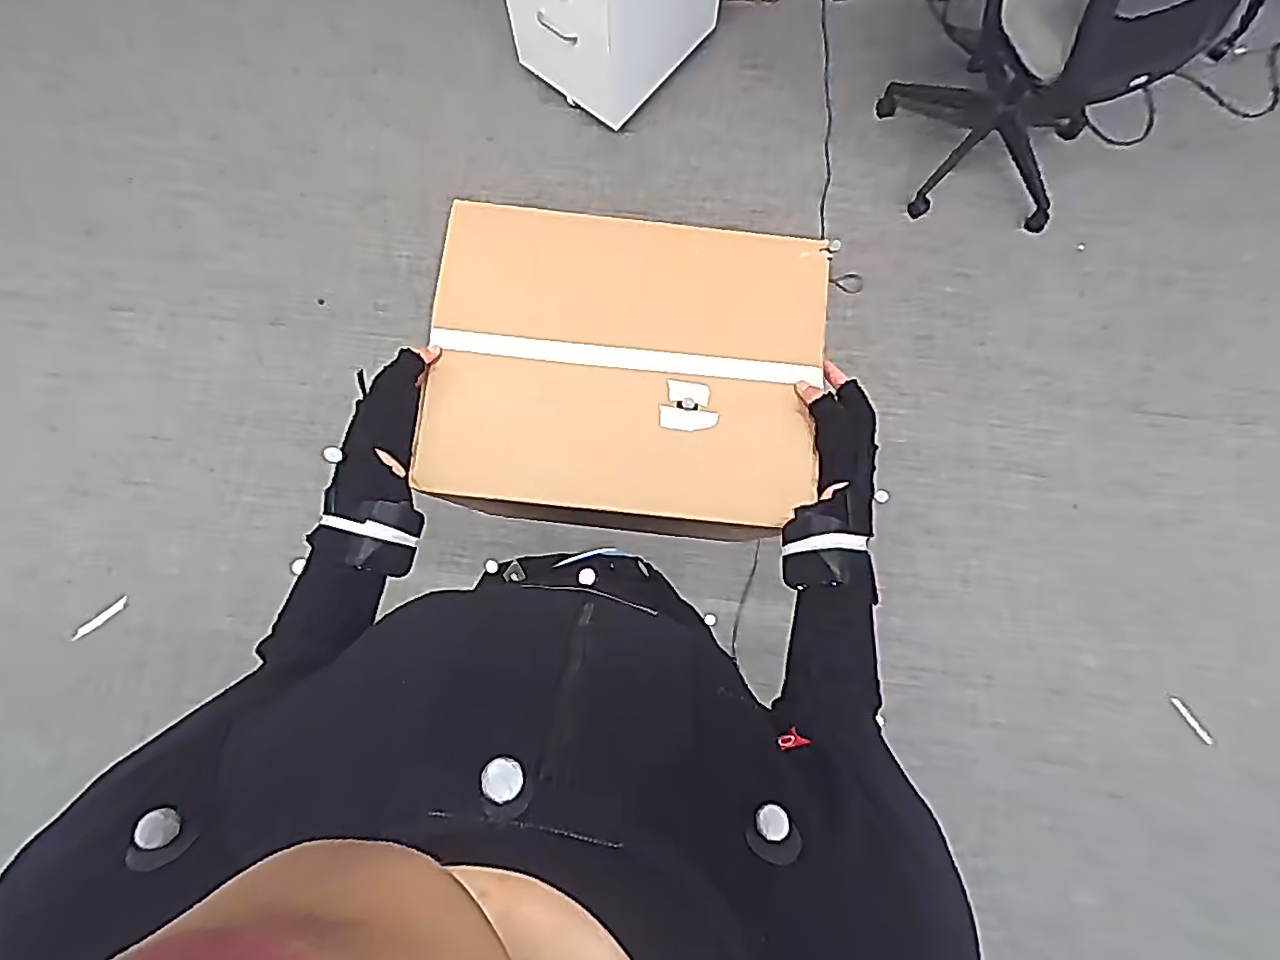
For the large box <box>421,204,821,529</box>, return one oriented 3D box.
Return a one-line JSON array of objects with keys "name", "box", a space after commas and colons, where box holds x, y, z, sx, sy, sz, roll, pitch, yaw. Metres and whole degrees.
[{"name": "large box", "box": [-0.019, -0.111, 0.717, 0.408, 0.320, 0.320, 7, 83, -1]}]
